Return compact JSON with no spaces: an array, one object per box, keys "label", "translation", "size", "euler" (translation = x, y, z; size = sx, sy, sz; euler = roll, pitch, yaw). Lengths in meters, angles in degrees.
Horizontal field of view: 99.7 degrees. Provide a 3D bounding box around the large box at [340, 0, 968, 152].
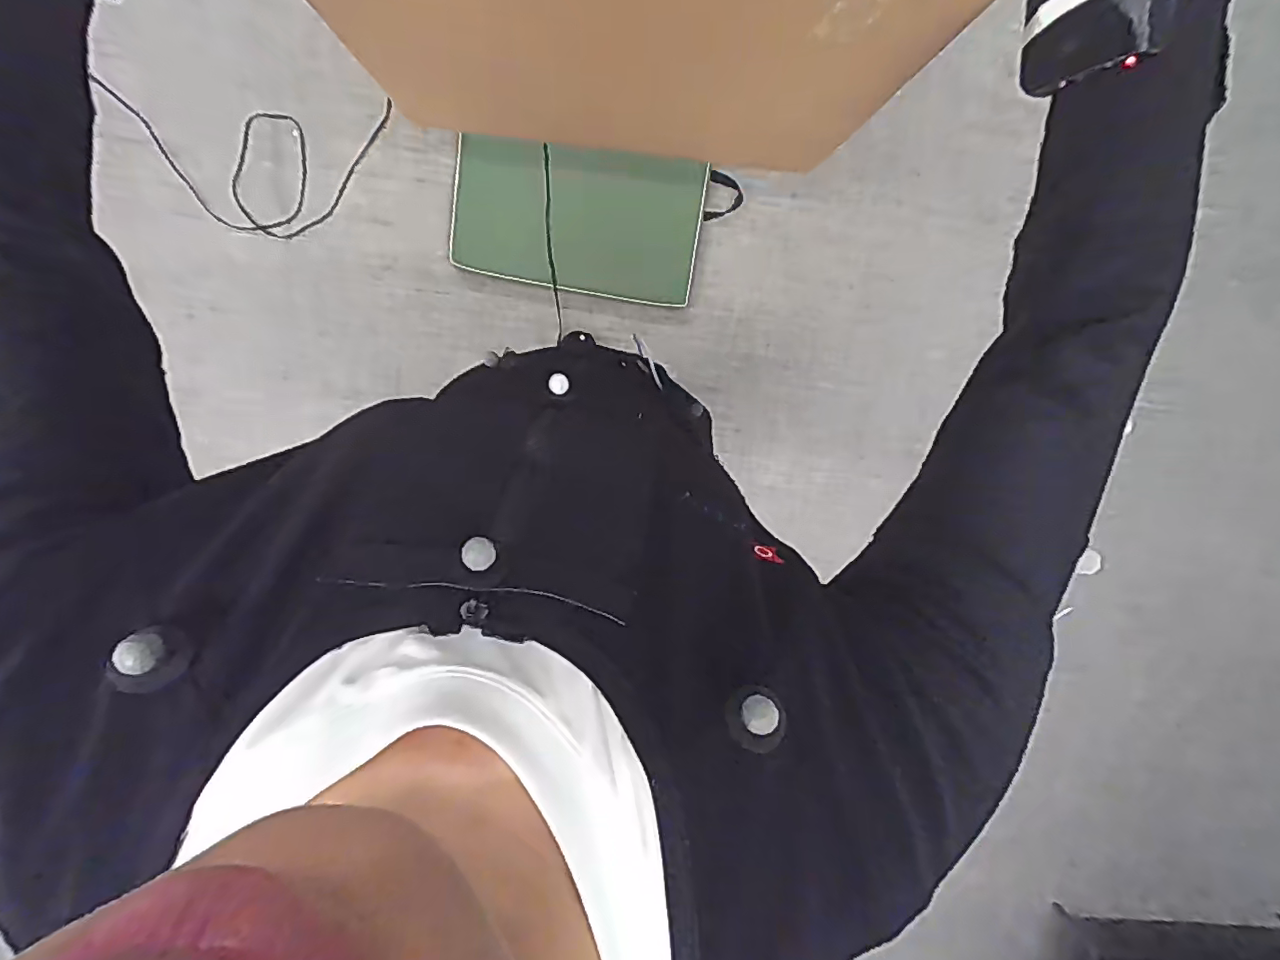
[{"label":"large box","translation":[0.003,-0.457,0.359],"size":[0.408,0.320,0.320],"euler":[4,103,-5]}]
